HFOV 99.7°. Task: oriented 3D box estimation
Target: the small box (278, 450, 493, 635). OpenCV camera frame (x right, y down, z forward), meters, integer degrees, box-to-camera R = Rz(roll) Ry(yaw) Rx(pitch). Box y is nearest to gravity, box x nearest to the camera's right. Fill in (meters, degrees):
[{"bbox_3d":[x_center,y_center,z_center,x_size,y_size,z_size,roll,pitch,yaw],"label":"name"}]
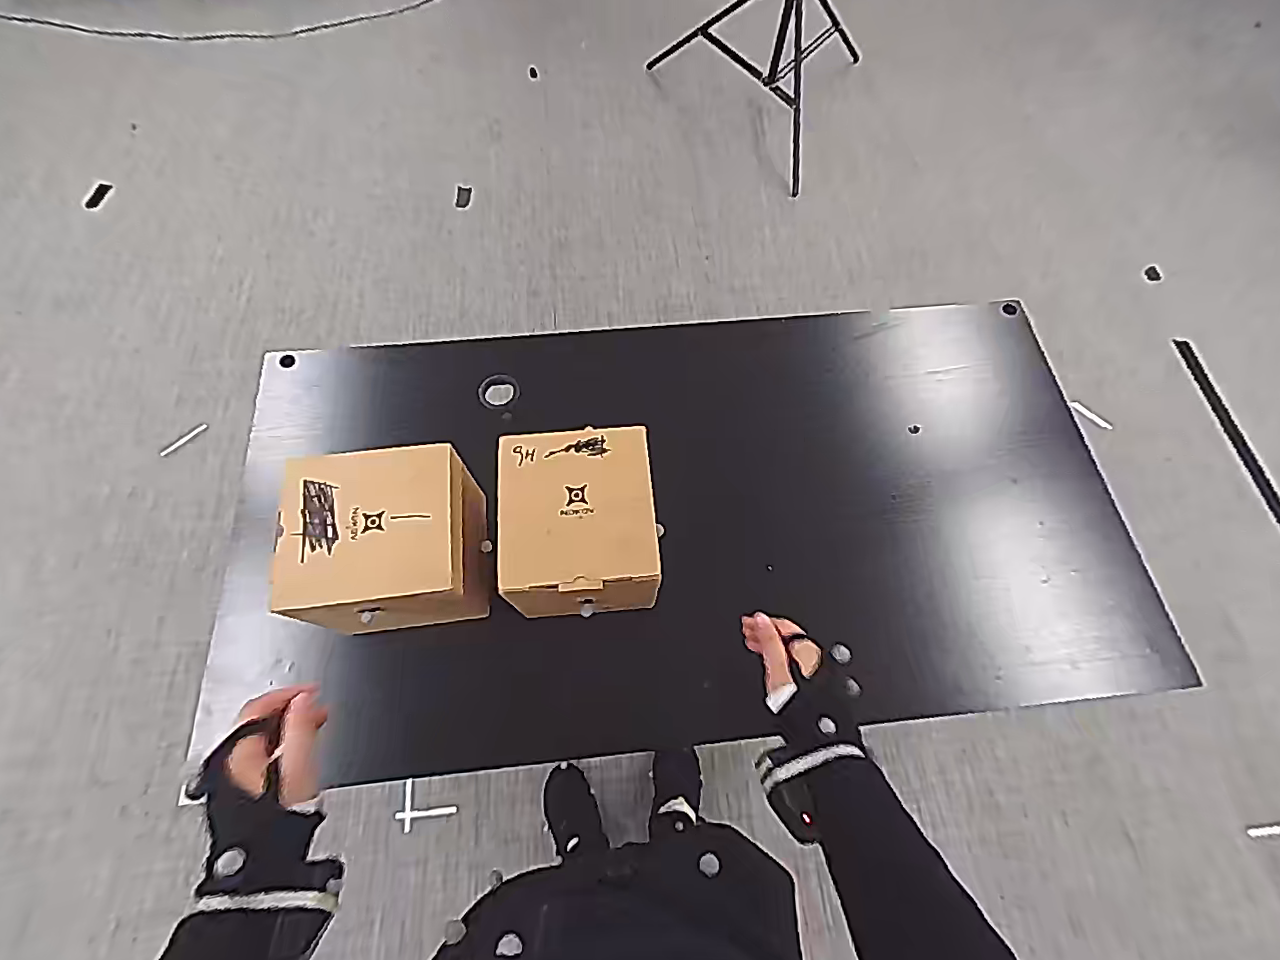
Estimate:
[{"bbox_3d":[-0.283,0.082,0.641,0.179,0.176,0.168,-6,67,-5],"label":"small box"}]
